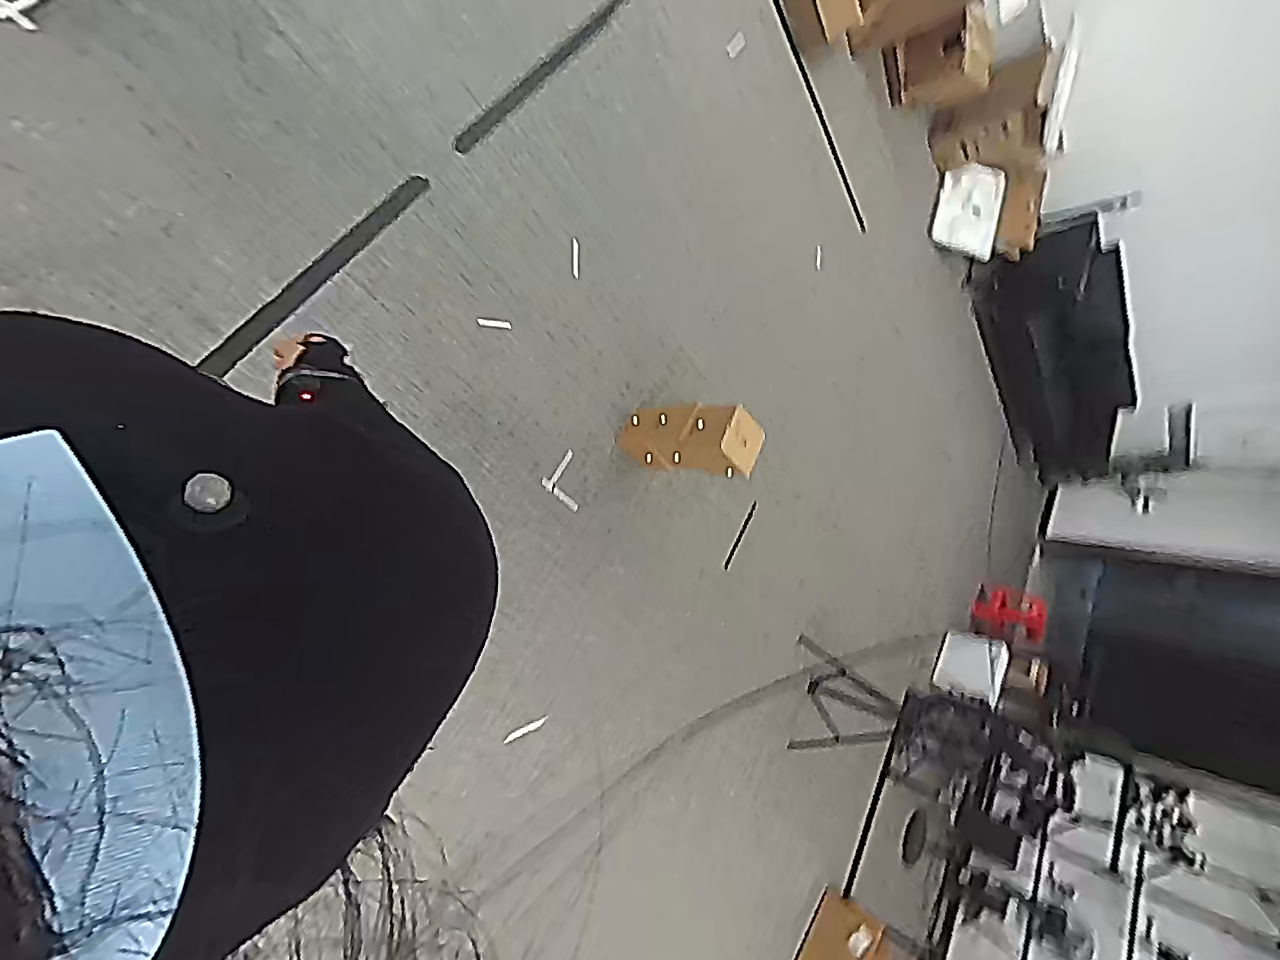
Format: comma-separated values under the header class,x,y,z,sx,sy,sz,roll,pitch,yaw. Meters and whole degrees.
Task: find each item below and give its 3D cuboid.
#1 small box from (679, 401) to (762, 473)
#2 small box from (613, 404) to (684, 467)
class,x,y,z,sx,sy,sz,roll,pitch,yaw
small box,0.261,-0.141,1.760,0.179,0.176,0.168,40,66,-36
small box,0.036,-0.166,2.000,0.179,0.176,0.168,44,64,-35
